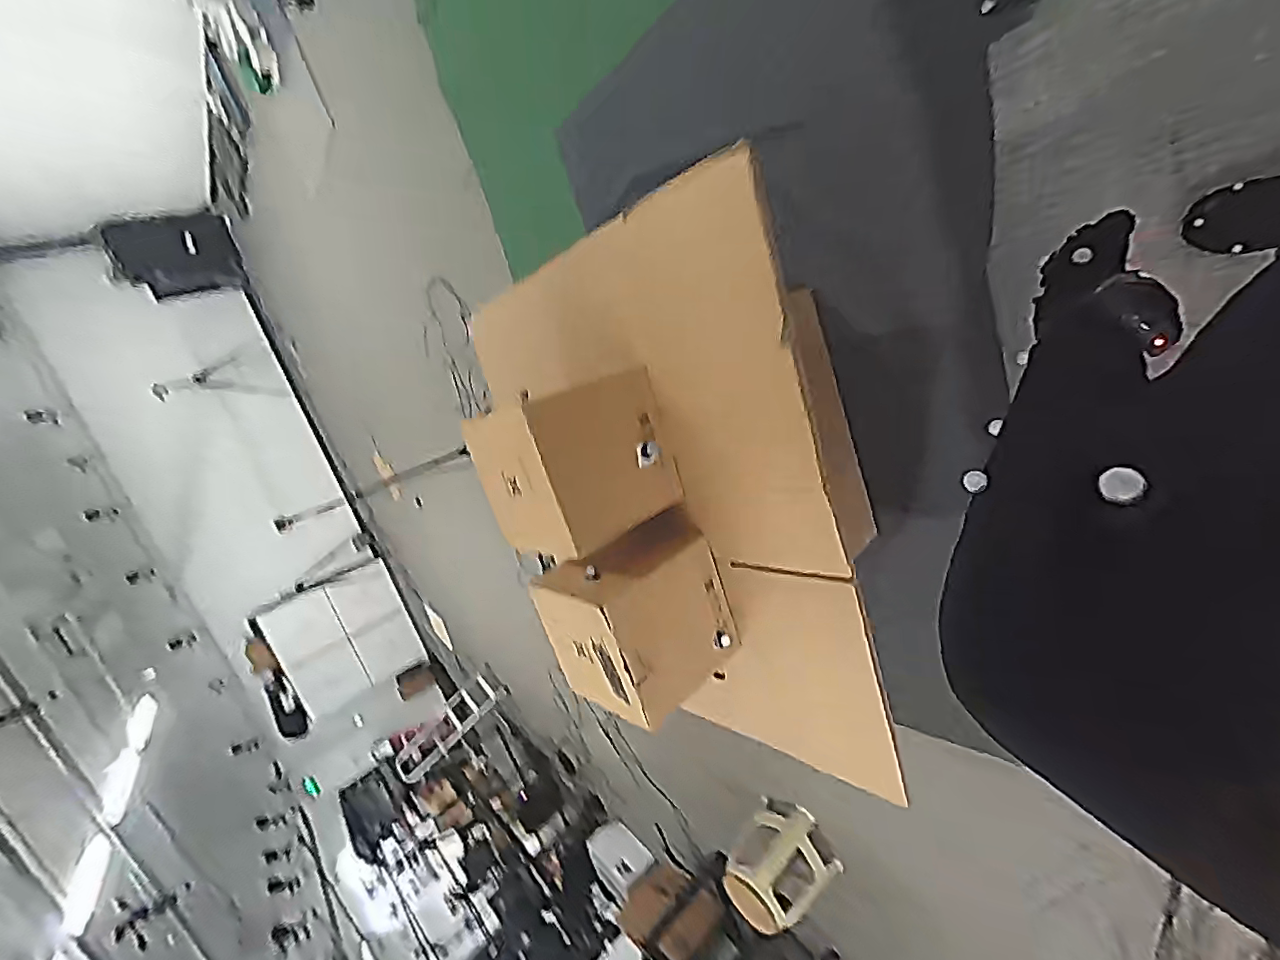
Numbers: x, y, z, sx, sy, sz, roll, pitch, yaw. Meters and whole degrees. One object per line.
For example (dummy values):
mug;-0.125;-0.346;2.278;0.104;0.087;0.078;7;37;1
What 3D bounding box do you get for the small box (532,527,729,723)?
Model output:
small box;-0.005;0.171;0.703;0.179;0.176;0.168;-1;111;52
